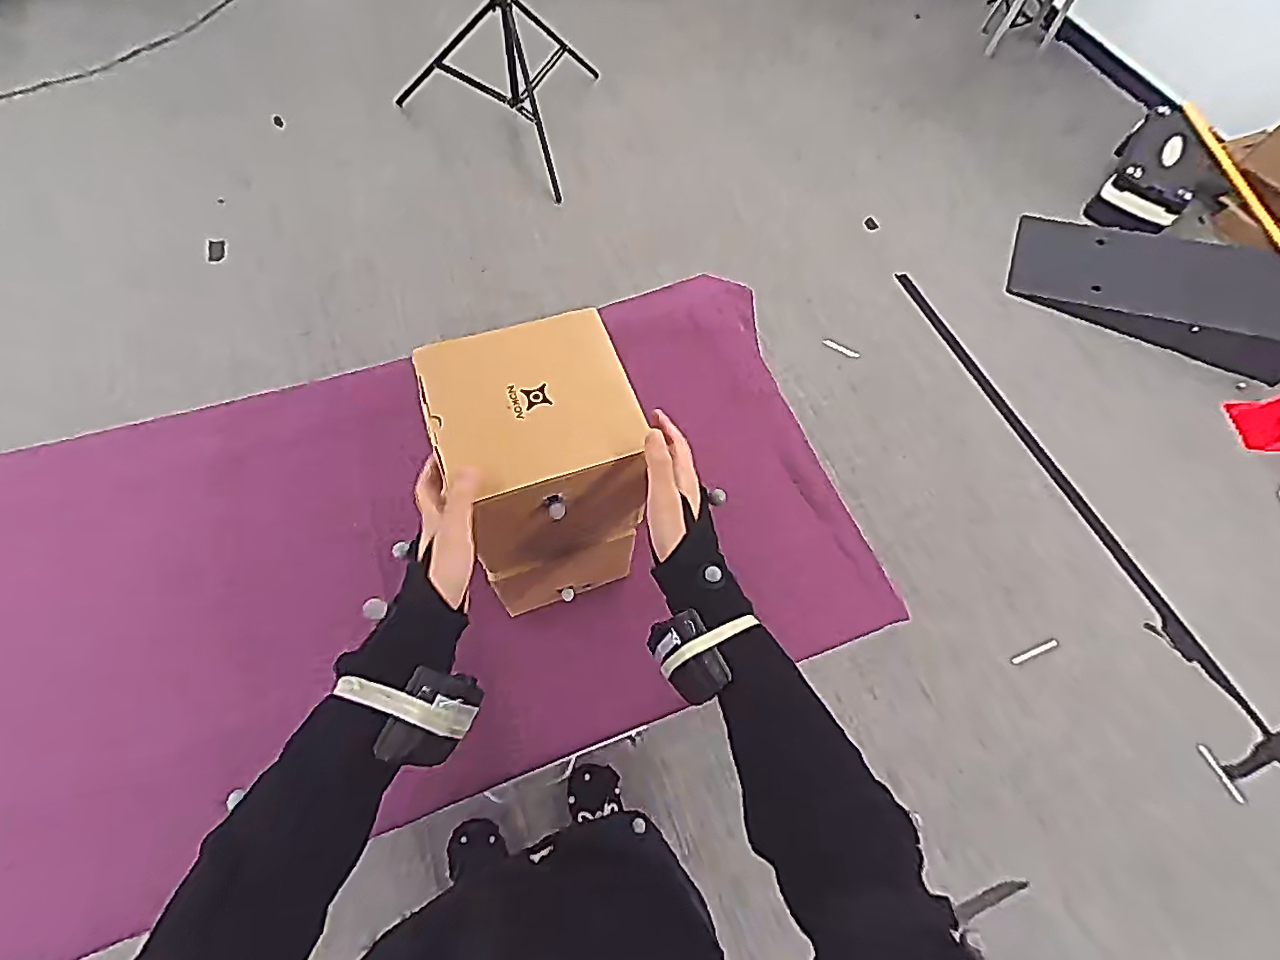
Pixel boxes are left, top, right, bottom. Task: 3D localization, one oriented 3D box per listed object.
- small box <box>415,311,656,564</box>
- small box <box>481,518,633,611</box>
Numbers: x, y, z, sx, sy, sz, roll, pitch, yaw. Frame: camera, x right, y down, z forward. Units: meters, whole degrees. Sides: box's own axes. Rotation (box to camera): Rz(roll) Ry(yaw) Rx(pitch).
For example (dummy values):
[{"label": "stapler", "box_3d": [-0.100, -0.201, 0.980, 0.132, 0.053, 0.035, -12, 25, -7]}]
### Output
[{"label": "small box", "box_3d": [-0.100, -0.034, 0.543, 0.179, 0.176, 0.168, -18, 67, -12]}, {"label": "small box", "box_3d": [-0.119, 0.044, 0.684, 0.168, 0.176, 0.179, -17, 67, -12]}]
